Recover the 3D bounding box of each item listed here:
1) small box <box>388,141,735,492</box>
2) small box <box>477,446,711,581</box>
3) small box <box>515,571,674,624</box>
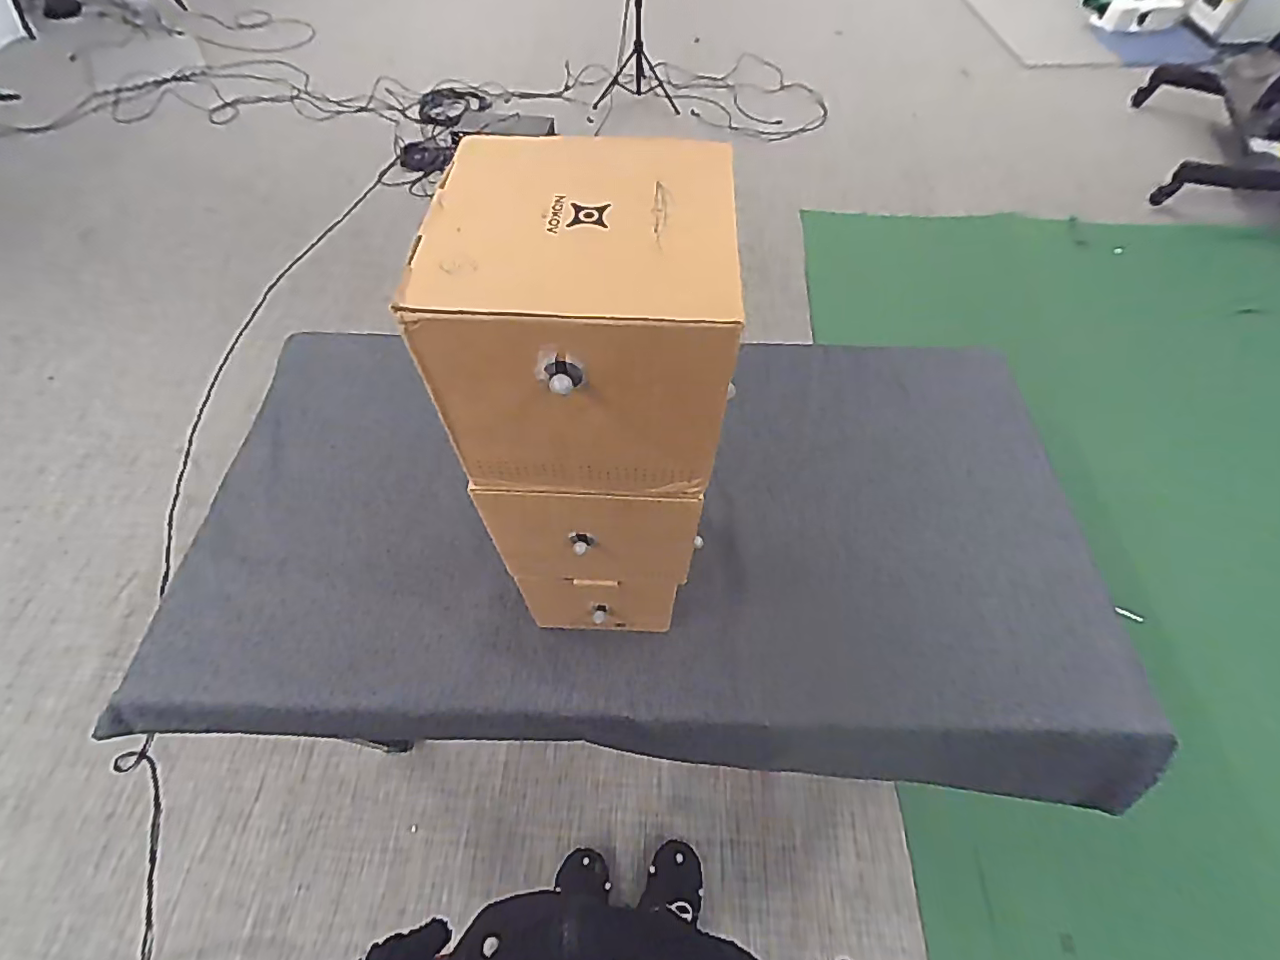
[{"bbox_3d":[-0.035,-0.103,0.374,0.179,0.176,0.168,3,59,1],"label":"small box"},{"bbox_3d":[-0.036,-0.012,0.508,0.179,0.176,0.168,0,58,-1],"label":"small box"},{"bbox_3d":[-0.041,0.067,0.653,0.168,0.176,0.179,1,59,1],"label":"small box"}]
